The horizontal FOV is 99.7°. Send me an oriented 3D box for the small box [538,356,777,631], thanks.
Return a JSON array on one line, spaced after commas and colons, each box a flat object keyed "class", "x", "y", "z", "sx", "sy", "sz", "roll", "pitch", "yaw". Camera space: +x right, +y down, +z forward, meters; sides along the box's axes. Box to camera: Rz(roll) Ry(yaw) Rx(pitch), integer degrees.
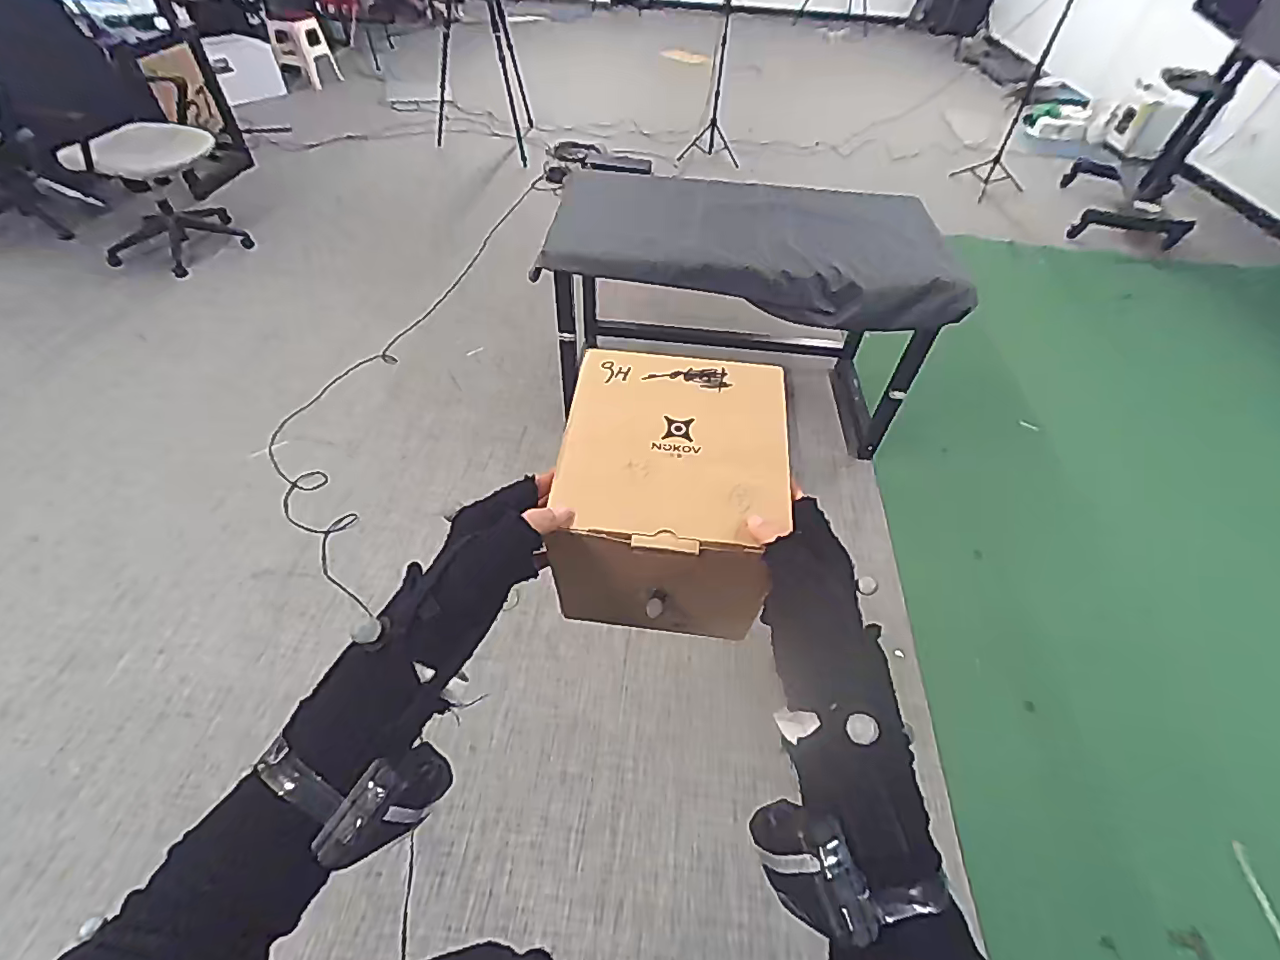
[{"class": "small box", "x": 0.021, "y": 0.018, "z": 0.472, "sx": 0.168, "sy": 0.176, "sz": 0.179, "roll": 6, "pitch": 56, "yaw": 3}]
